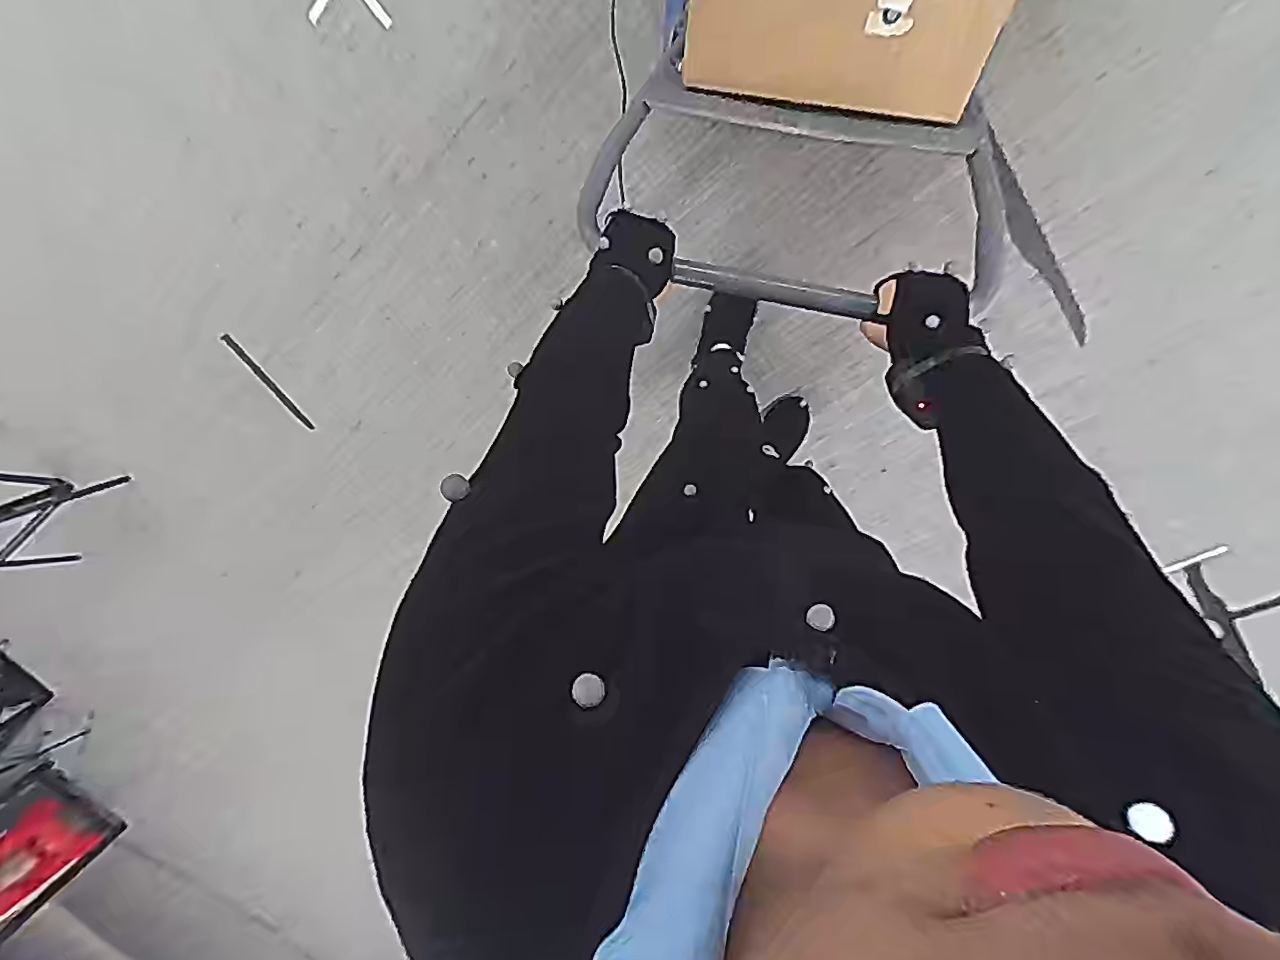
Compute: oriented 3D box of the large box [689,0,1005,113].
[{"bbox_3d":[0.304,-0.773,0.778,0.408,0.320,0.320,13,142,7],"label":"large box"}]
